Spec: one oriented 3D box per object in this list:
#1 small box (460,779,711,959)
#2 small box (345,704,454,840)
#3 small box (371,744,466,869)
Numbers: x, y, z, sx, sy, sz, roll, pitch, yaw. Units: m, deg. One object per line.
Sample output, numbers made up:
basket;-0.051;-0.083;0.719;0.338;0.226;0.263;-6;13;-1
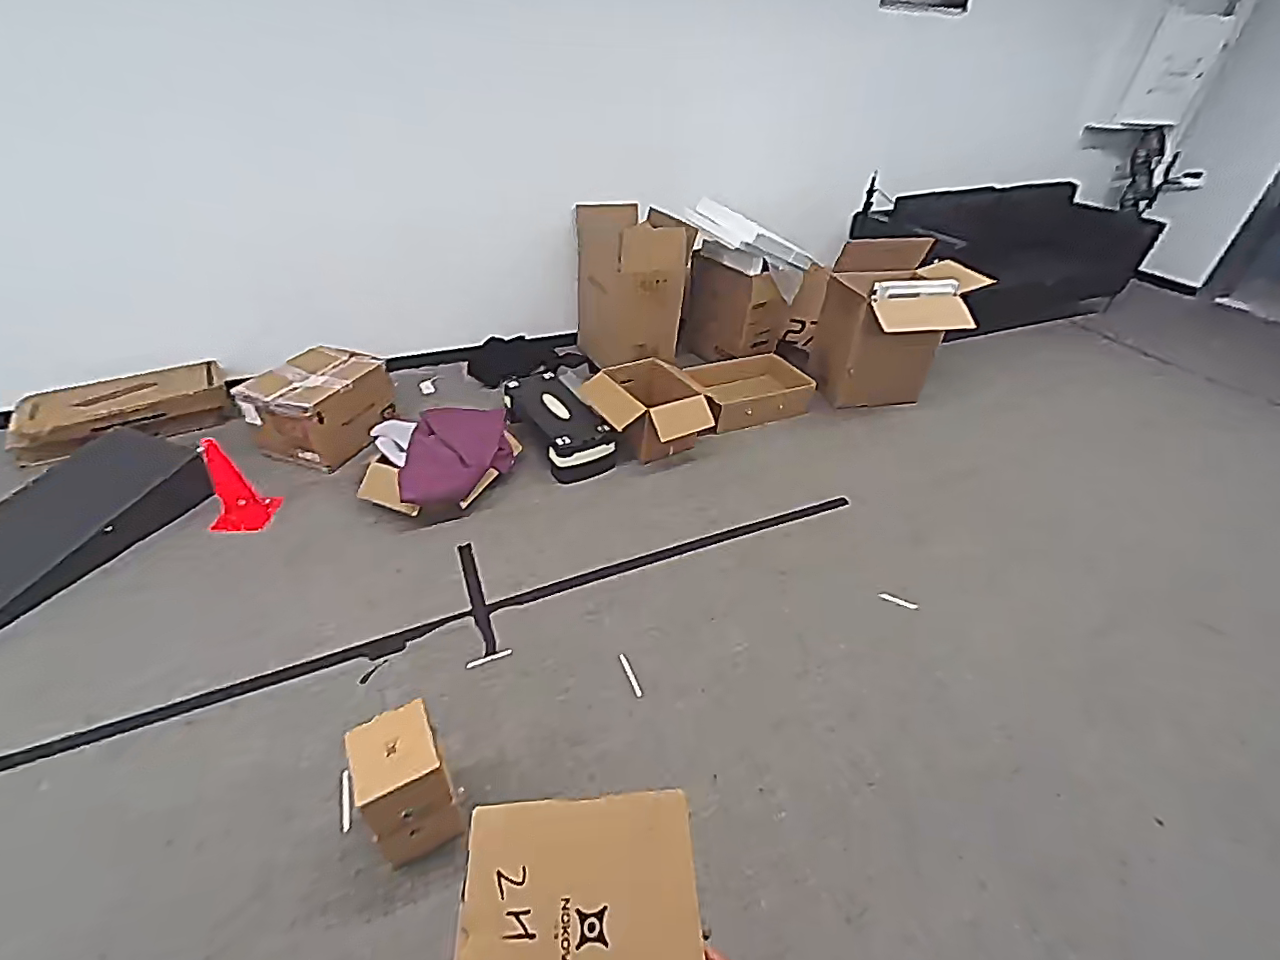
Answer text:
small box;-0.041;0.366;0.450;0.179;0.176;0.168;-4;47;-3
small box;-0.527;0.642;1.192;0.168;0.176;0.179;-20;45;-24
small box;-0.529;0.776;1.284;0.179;0.176;0.168;-16;42;-23
